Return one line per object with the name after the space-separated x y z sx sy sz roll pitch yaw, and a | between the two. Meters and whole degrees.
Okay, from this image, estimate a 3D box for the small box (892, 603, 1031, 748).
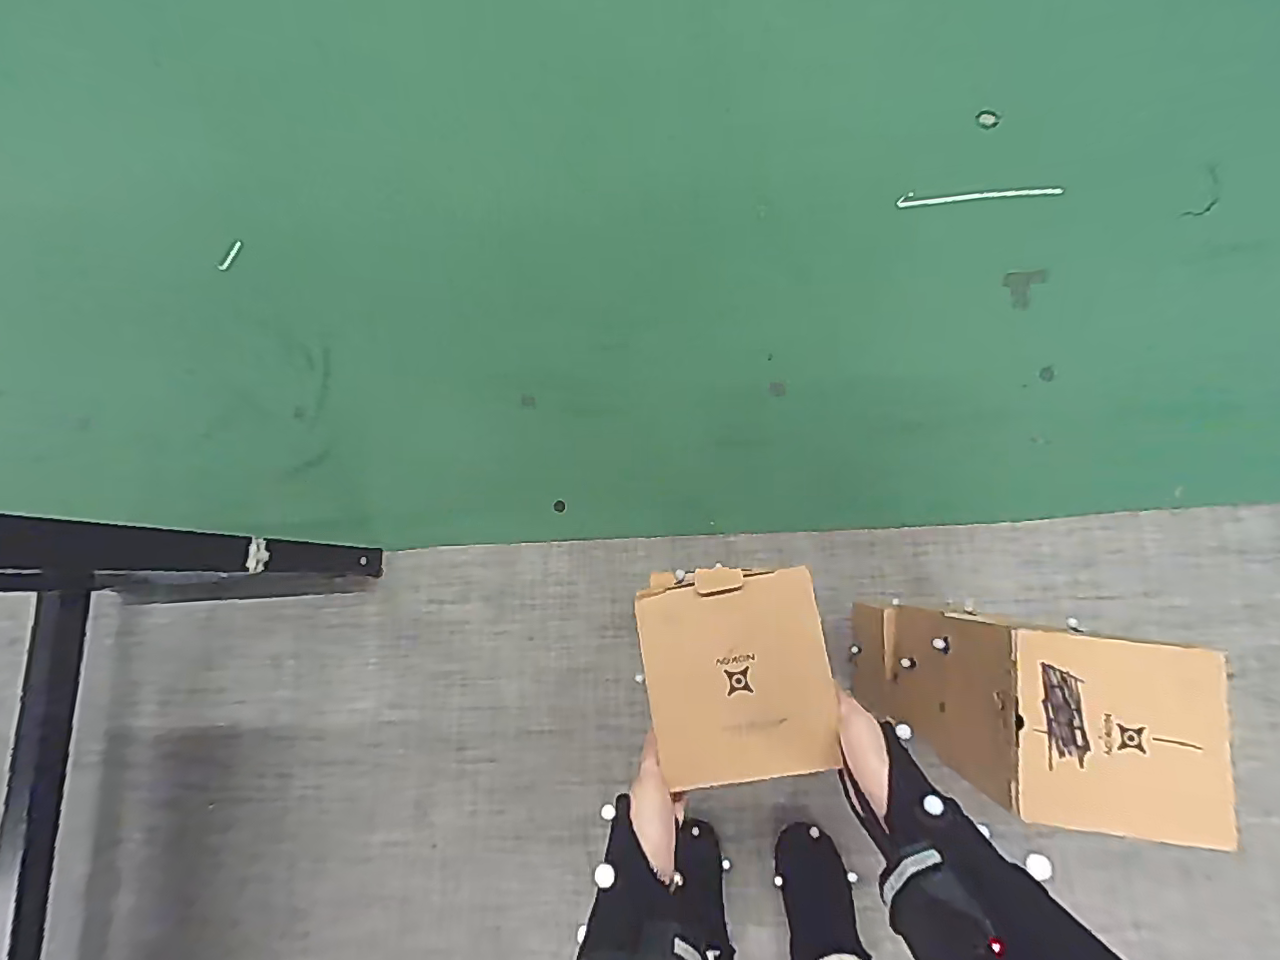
0.447 0.256 0.702 0.179 0.176 0.168 8 82 7 | small box

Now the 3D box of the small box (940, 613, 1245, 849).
0.424 0.228 0.542 0.179 0.176 0.168 5 81 6 | small box

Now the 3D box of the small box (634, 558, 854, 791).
0.093 0.182 0.549 0.168 0.176 0.179 -11 80 4 | small box
